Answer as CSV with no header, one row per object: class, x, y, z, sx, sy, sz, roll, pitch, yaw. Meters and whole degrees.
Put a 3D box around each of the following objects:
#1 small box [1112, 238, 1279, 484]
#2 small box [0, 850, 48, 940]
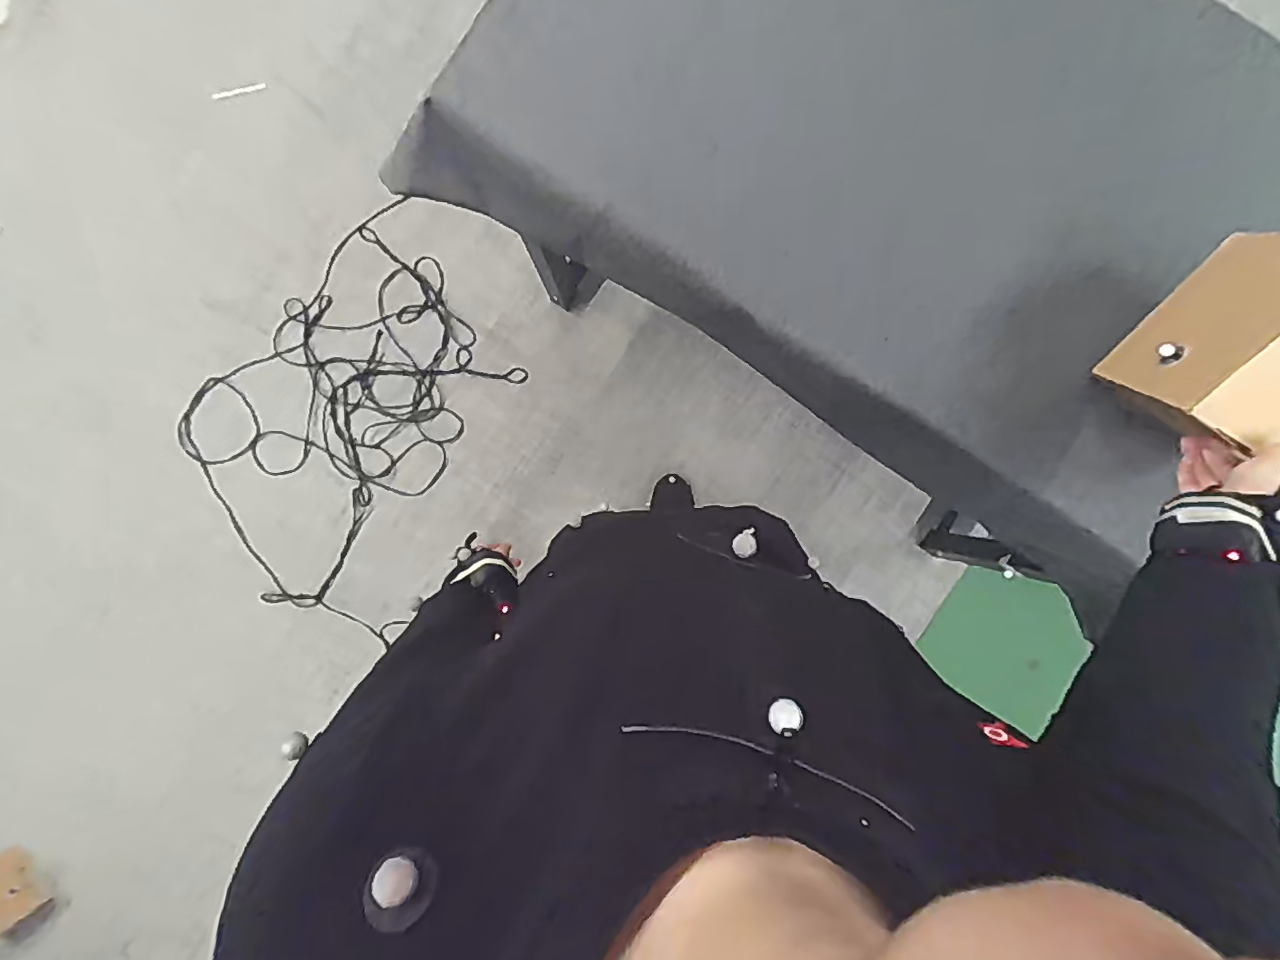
small box,0.618,-0.111,0.523,0.168,0.176,0.179,30,116,-2
small box,-1.584,1.034,1.270,0.179,0.176,0.168,-38,89,-1
